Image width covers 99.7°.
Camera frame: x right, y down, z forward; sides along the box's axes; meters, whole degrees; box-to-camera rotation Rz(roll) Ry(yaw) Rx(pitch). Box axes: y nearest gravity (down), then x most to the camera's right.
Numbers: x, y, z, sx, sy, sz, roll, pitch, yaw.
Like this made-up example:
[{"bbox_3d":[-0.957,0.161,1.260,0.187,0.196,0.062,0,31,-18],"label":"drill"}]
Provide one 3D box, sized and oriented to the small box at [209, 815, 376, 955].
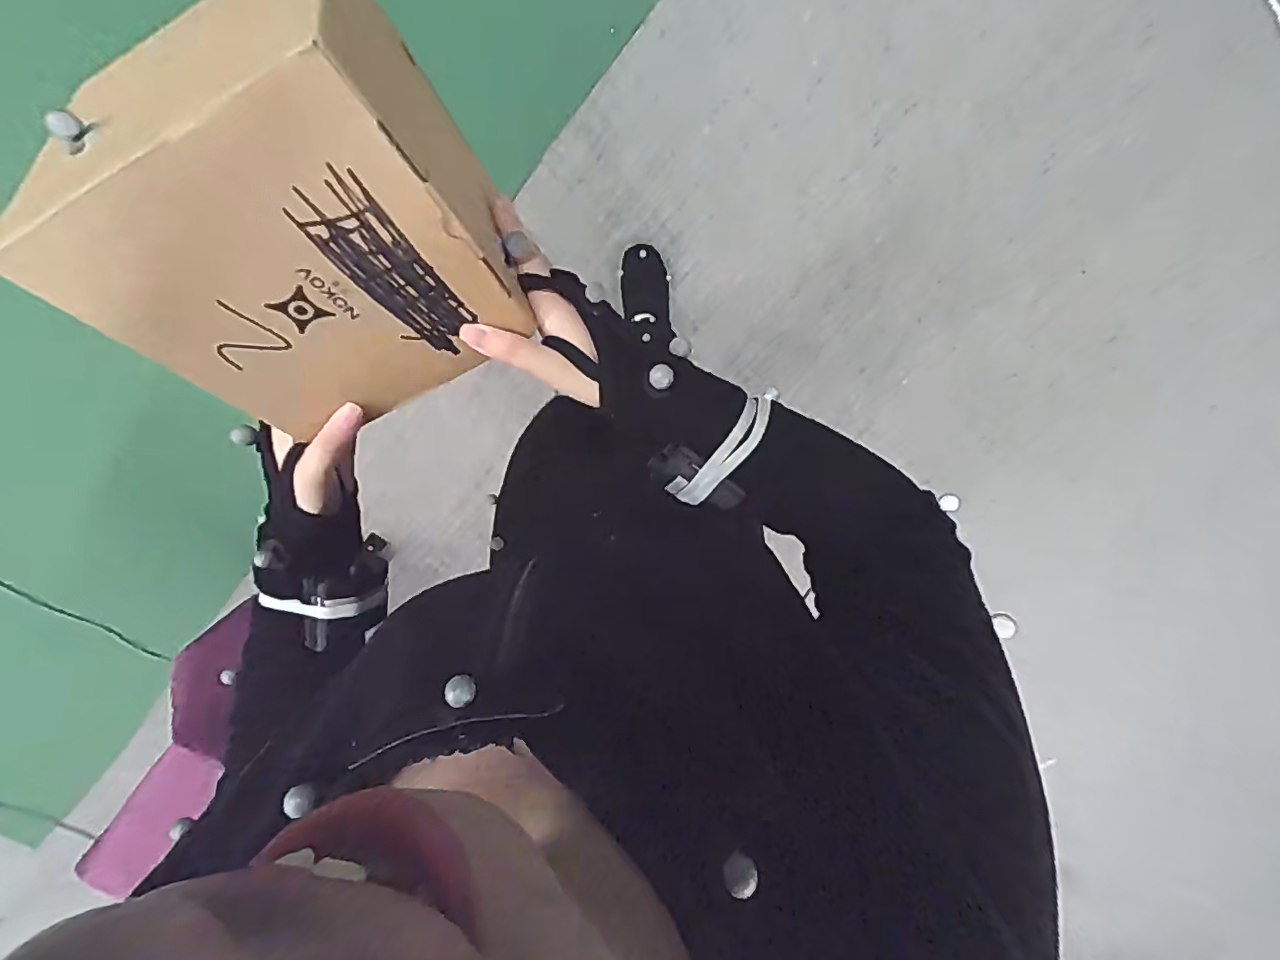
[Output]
[{"bbox_3d":[-0.646,0.781,1.029,0.168,0.176,0.179,-39,108,20],"label":"small box"}]
